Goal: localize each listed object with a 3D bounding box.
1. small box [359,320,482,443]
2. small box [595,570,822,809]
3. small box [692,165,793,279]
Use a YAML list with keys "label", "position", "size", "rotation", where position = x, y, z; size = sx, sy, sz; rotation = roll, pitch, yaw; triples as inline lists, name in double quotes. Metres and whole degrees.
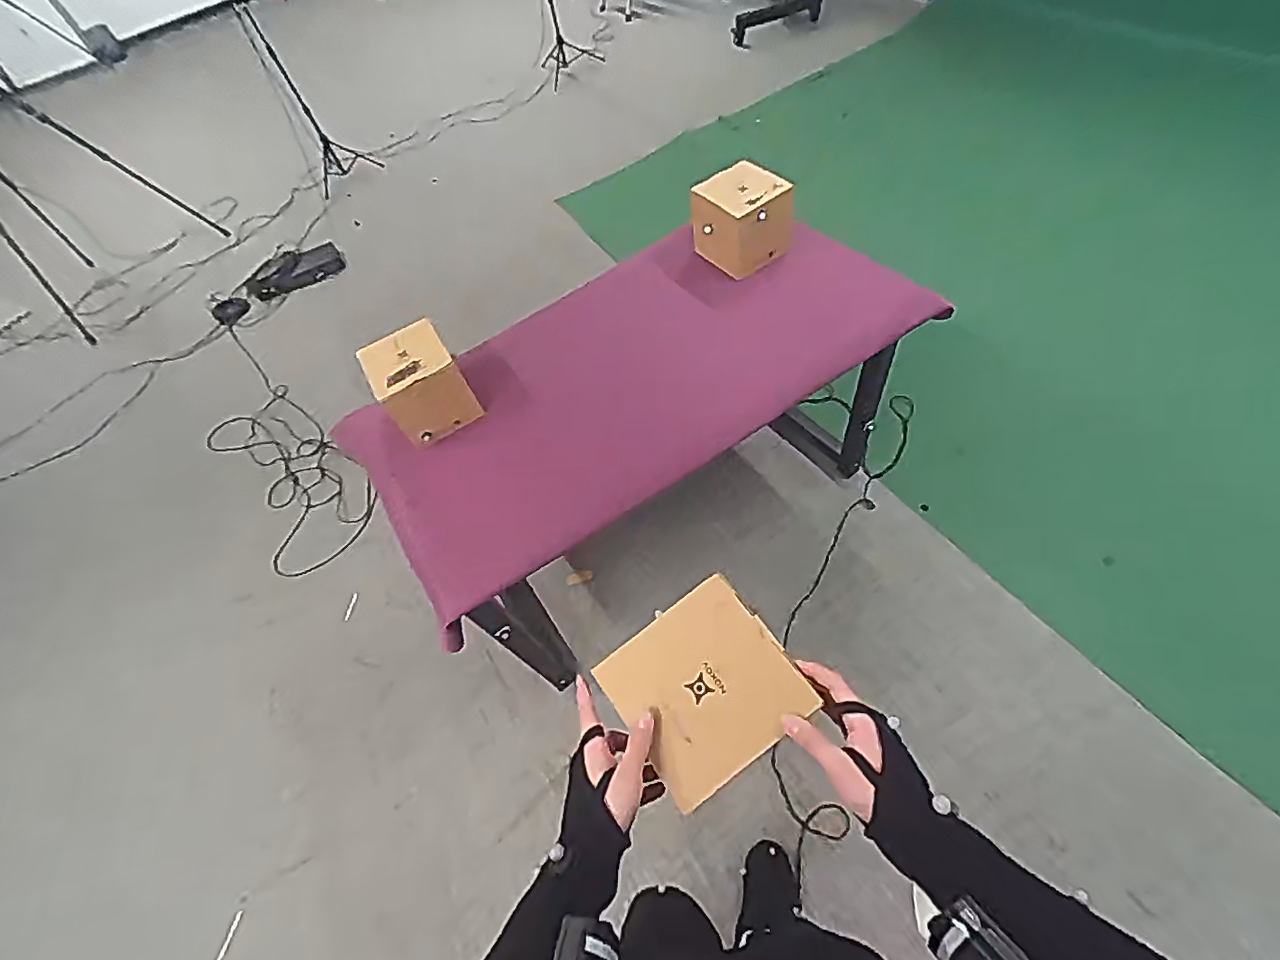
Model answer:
- label: "small box"
  position: [-0.468, -0.205, 1.173]
  size: [0.168, 0.176, 0.179]
  rotation: [-31, 58, -11]
- label: "small box"
  position: [0.079, 0.231, 0.623]
  size: [0.179, 0.176, 0.168]
  rotation: [-38, 66, -2]
- label: "small box"
  position: [0.246, -0.623, 1.314]
  size: [0.168, 0.176, 0.179]
  rotation: [-34, 57, -11]
